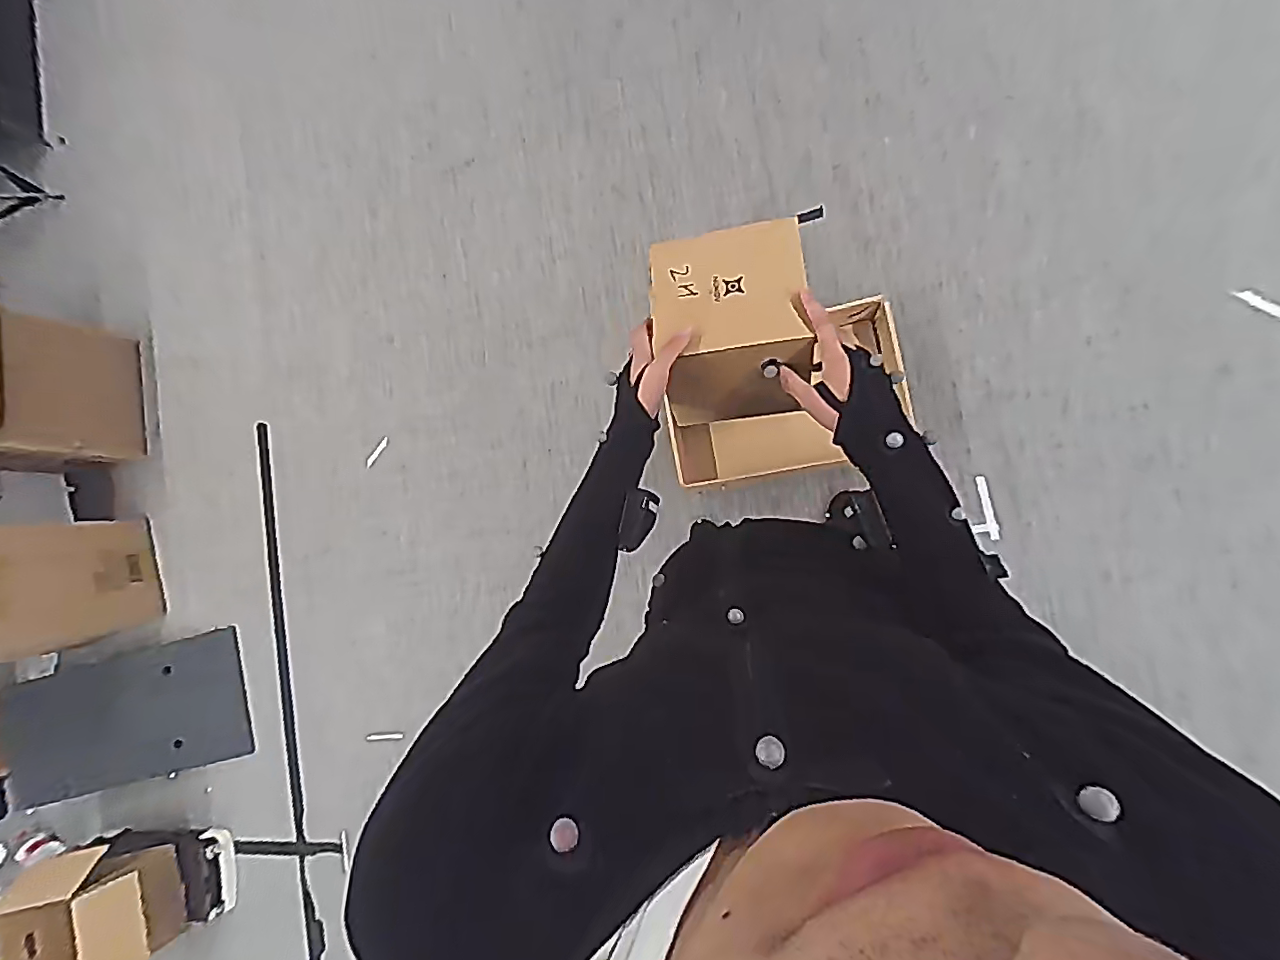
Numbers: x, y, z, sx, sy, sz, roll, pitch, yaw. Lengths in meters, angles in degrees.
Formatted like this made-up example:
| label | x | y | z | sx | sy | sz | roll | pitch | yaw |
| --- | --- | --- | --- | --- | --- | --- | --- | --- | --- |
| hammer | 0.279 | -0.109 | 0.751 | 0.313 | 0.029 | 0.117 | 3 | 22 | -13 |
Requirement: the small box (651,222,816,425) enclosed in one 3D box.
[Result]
| label | x | y | z | sx | sy | sz | roll | pitch | yaw |
| --- | --- | --- | --- | --- | --- | --- | --- | --- | --- |
| small box | 0.116 | -0.182 | 0.673 | 0.179 | 0.176 | 0.168 | -5 | 68 | 13 |
